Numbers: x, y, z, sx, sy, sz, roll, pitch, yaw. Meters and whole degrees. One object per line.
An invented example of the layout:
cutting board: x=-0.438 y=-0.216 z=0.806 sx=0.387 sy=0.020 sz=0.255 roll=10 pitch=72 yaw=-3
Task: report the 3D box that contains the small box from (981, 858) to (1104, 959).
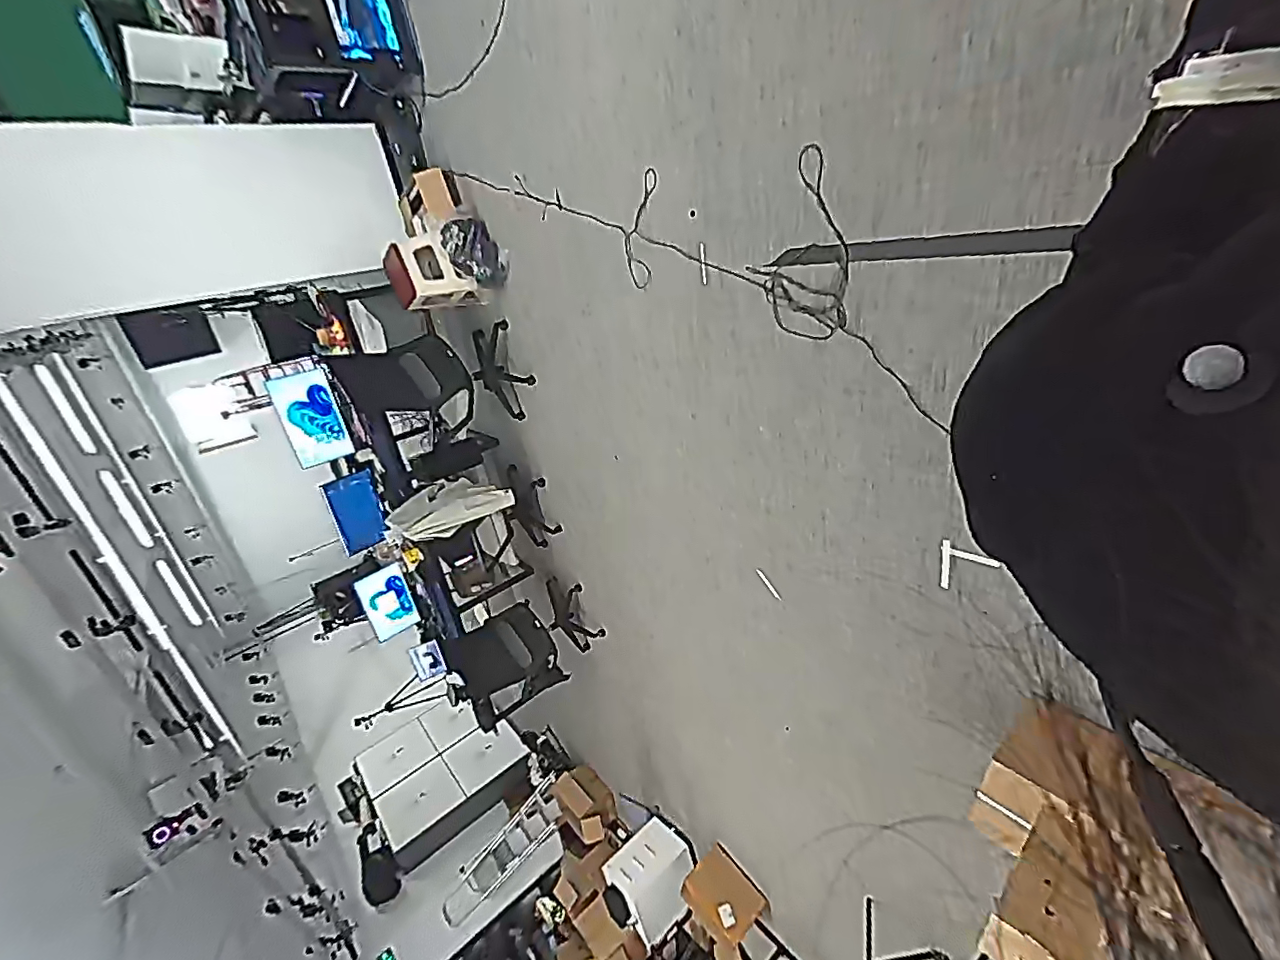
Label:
small box: x=0.906 y=1.010 z=1.217 sx=0.168 sy=0.176 sz=0.179 roll=25 pitch=131 yaw=44
